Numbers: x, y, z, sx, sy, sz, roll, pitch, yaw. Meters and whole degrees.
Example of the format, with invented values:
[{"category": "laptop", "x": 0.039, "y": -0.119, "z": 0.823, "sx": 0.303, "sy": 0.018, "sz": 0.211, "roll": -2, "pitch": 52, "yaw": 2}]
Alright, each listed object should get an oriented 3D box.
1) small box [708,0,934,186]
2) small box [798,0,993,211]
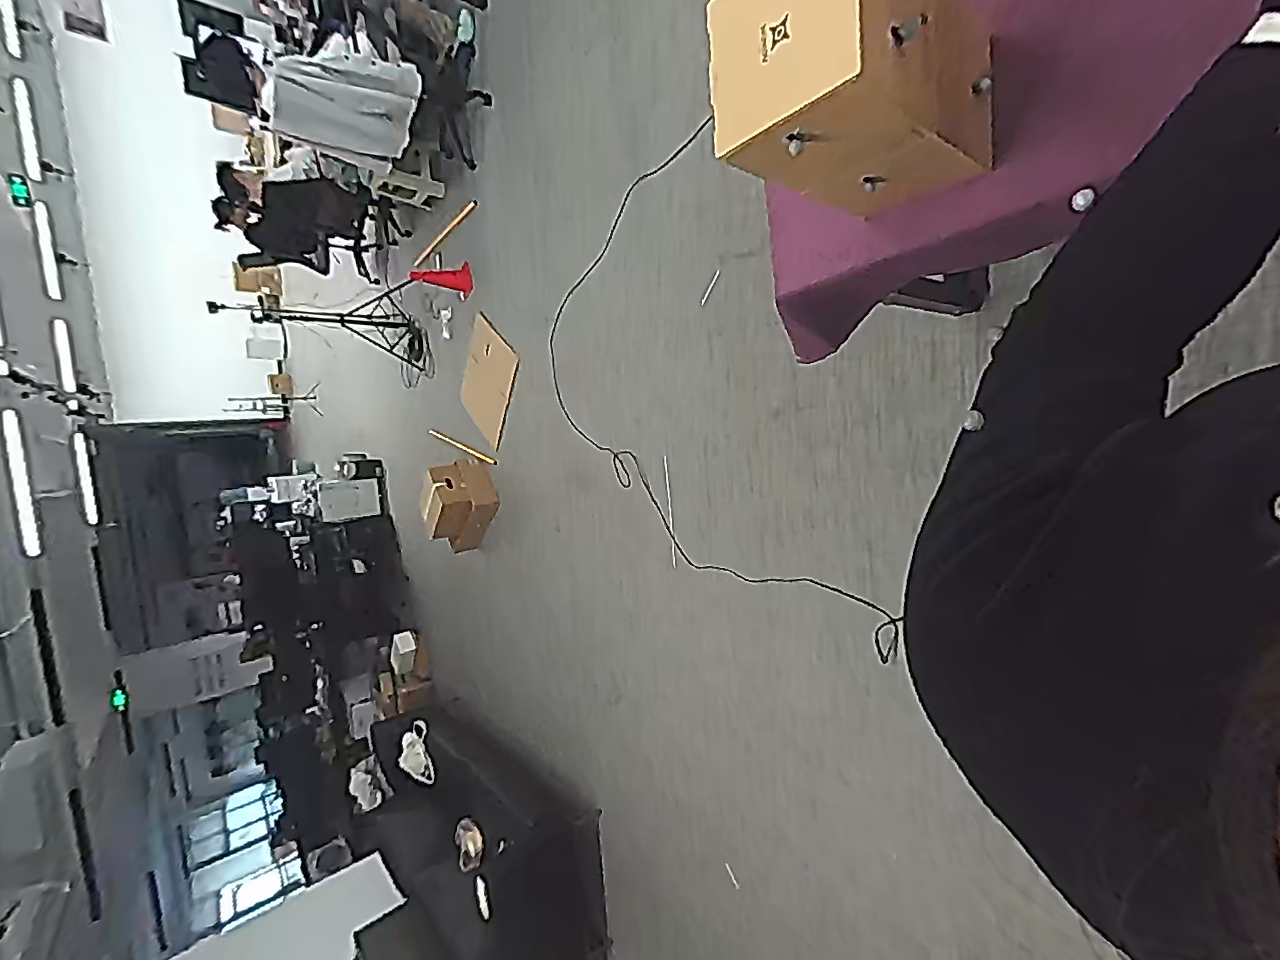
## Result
[{"category": "small box", "x": 0.198, "y": -0.448, "z": 0.582, "sx": 0.179, "sy": 0.176, "sz": 0.168, "roll": 2, "pitch": 98, "yaw": 52}, {"category": "small box", "x": 0.320, "y": -0.466, "z": 0.689, "sx": 0.179, "sy": 0.176, "sz": 0.168, "roll": 2, "pitch": 99, "yaw": 50}]
